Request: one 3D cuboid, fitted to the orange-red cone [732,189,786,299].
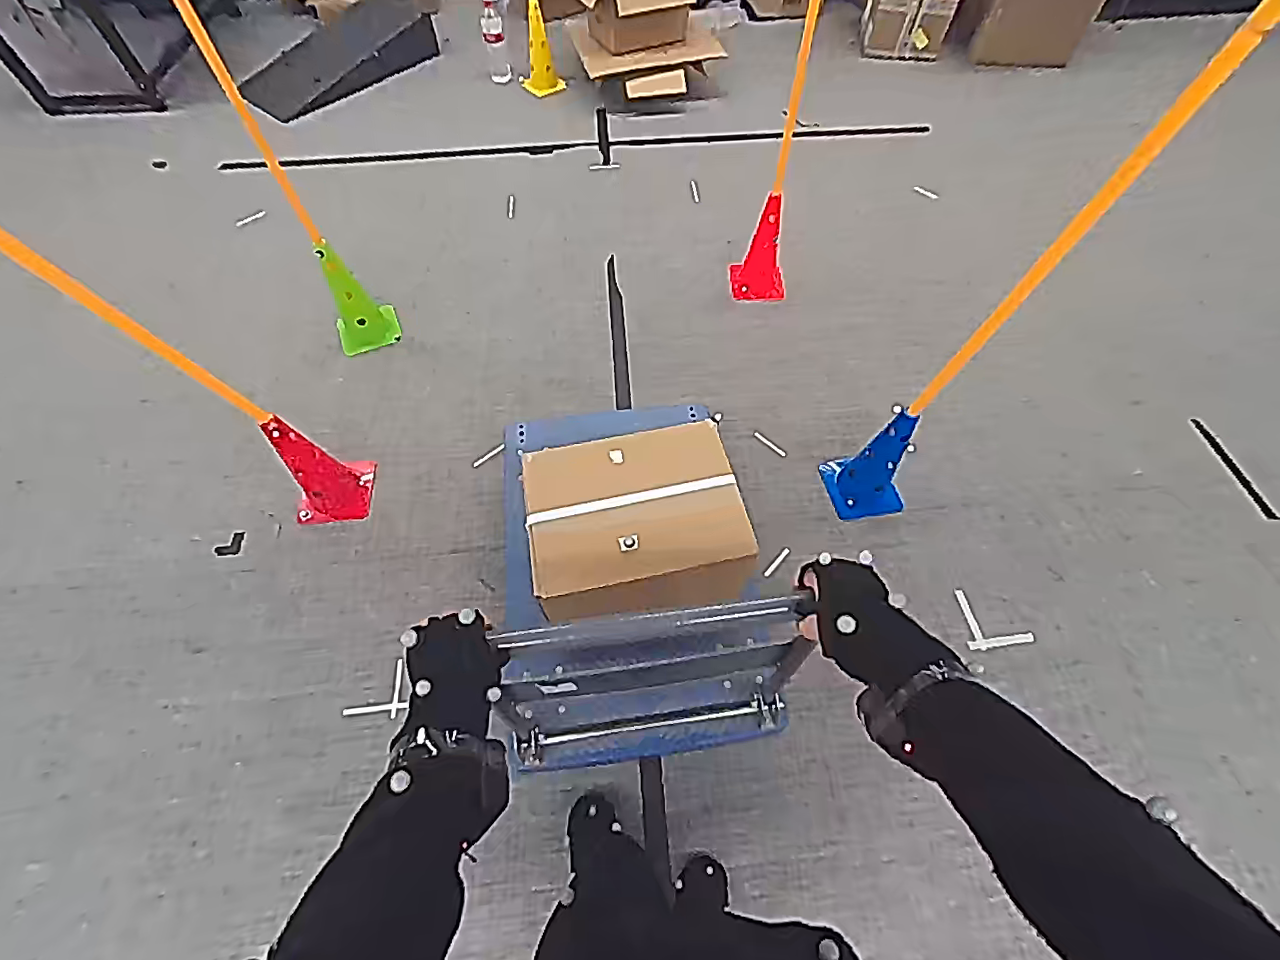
[{"bbox_3d":[0.450,-0.845,1.905,0.199,0.360,0.198,2,60,0],"label":"orange-red cone"}]

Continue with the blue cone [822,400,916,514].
[{"bbox_3d":[0.655,-0.075,1.463,0.193,0.380,0.192,-8,58,-5],"label":"blue cone"}]
